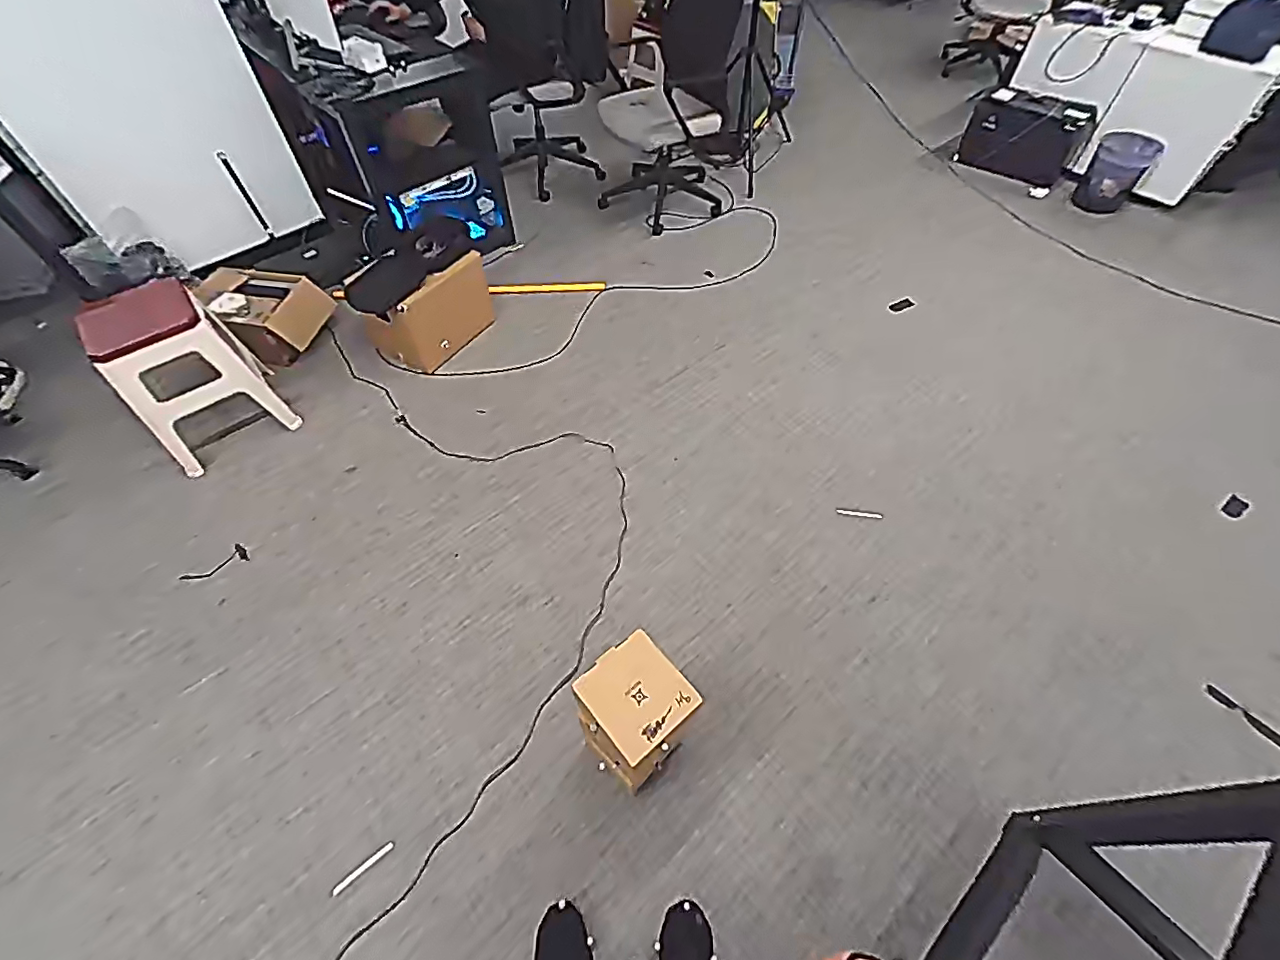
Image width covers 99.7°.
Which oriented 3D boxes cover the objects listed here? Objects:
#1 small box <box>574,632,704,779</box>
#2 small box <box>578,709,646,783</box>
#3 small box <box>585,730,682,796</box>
[{"bbox_3d":[-0.003,0.427,1.016,0.168,0.176,0.179,-35,60,-22],"label":"small box"},{"bbox_3d":[-0.009,0.514,1.157,0.168,0.176,0.179,37,61,23],"label":"small box"},{"bbox_3d":[-0.010,0.614,1.283,0.179,0.176,0.168,-39,62,-23],"label":"small box"}]
